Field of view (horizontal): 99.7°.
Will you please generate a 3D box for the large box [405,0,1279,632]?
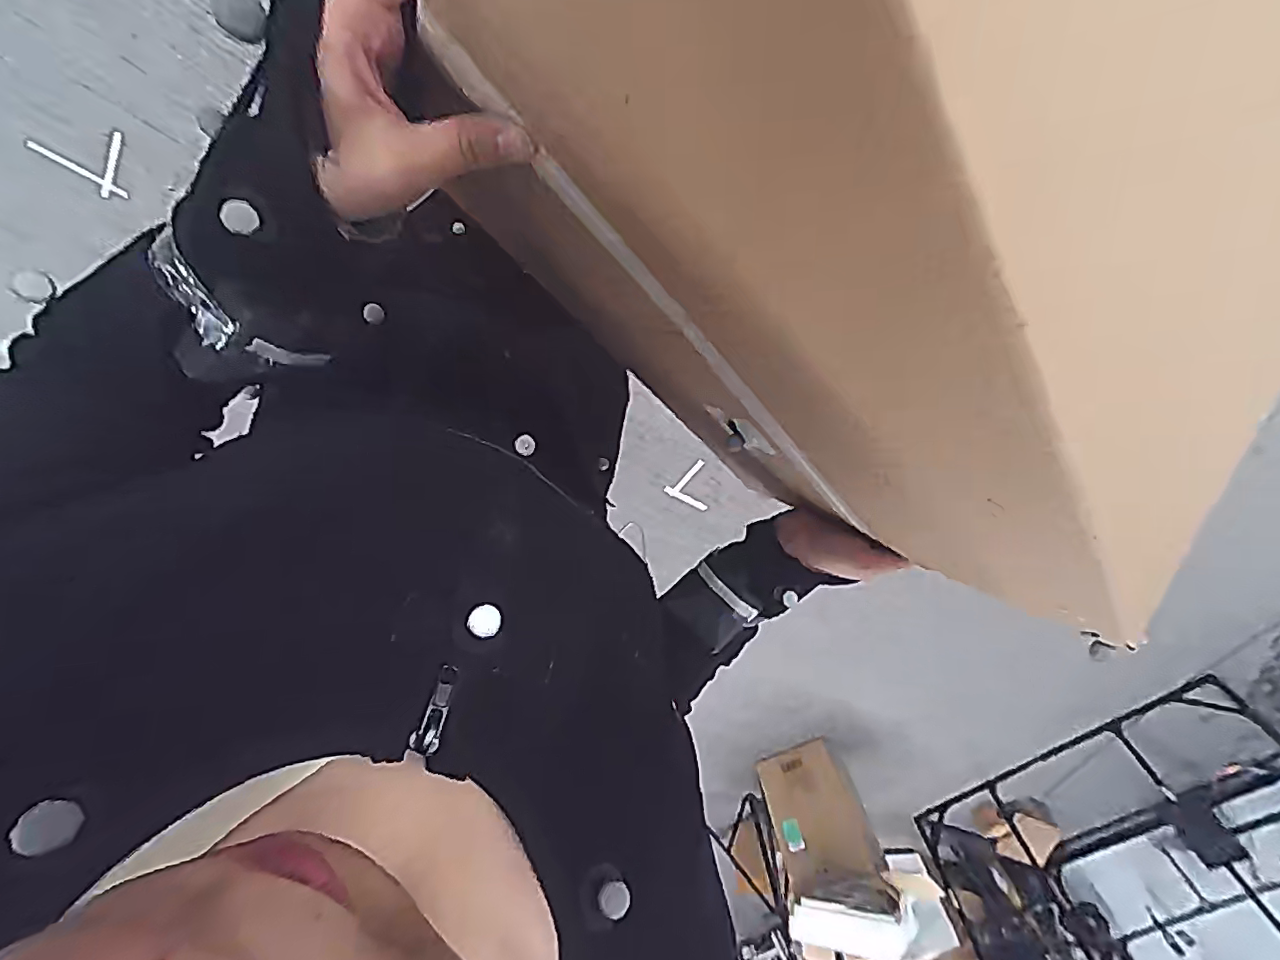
[{"bbox_3d":[0.163,-0.193,0.278,0.408,0.320,0.320,38,86,-34],"label":"large box"}]
